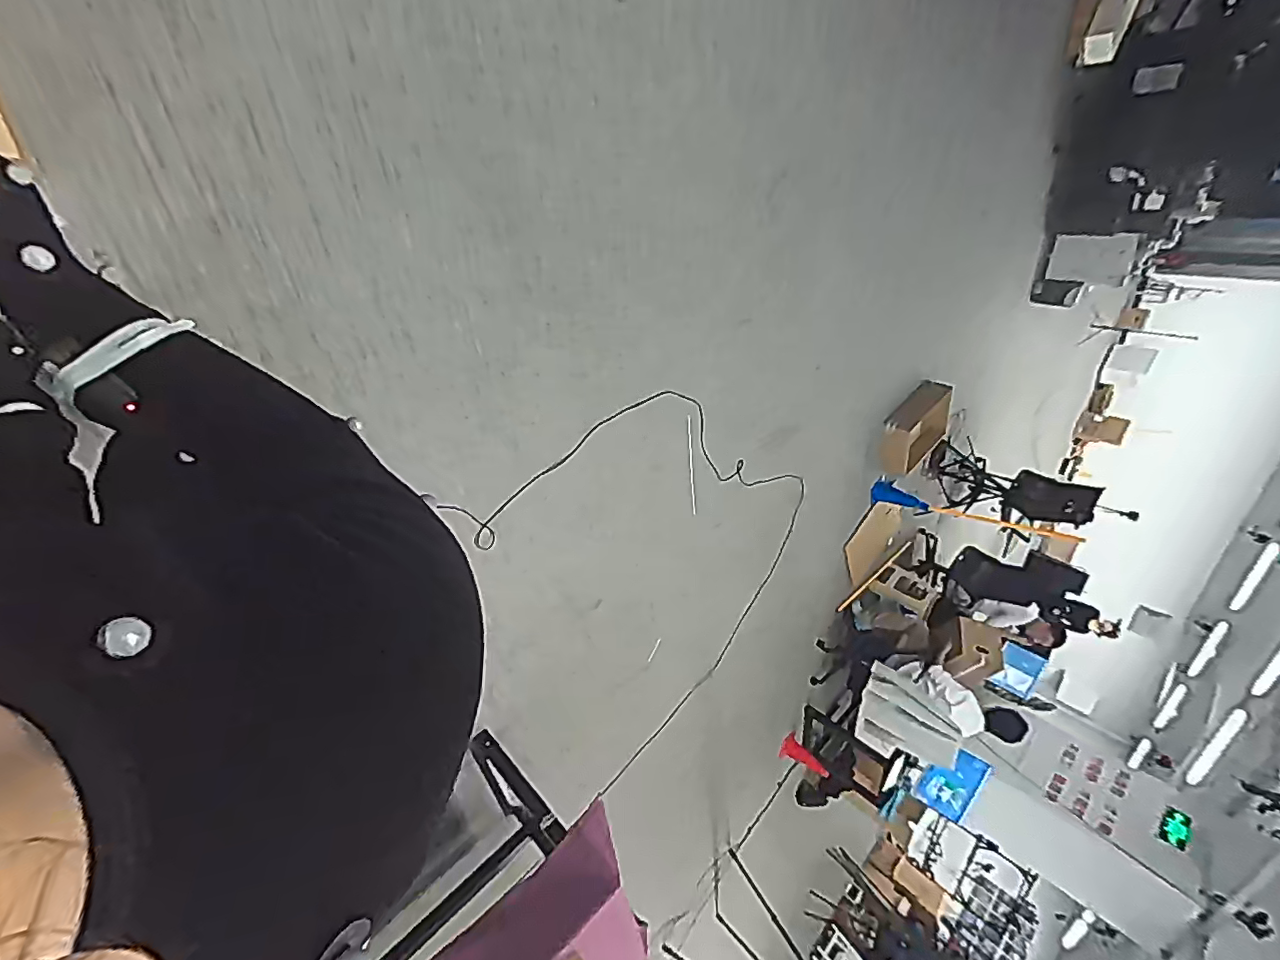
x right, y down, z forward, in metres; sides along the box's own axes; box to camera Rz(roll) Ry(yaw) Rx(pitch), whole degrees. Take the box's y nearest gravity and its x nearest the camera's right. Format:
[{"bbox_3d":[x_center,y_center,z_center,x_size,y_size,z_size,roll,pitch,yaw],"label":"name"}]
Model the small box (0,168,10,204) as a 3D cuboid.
[{"bbox_3d":[-0.672,-0.325,0.435,0.168,0.176,0.179,-22,121,-37],"label":"small box"}]
